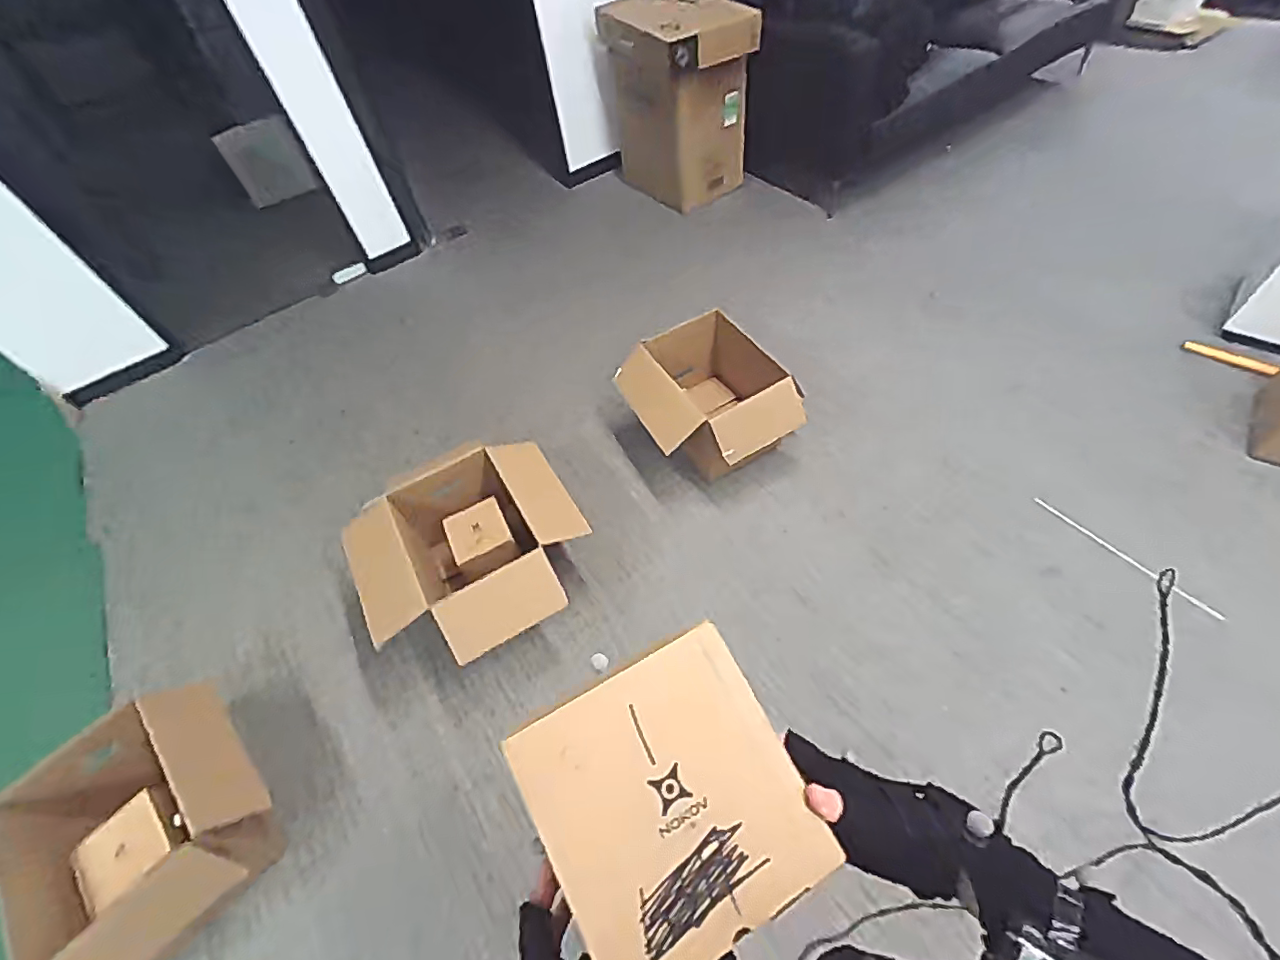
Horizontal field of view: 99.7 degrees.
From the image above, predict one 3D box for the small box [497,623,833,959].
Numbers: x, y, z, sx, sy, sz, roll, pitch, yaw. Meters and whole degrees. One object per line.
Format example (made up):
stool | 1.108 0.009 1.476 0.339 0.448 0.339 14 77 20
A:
small box | 0.007 0.232 0.422 0.168 0.176 0.179 -25 75 -17
